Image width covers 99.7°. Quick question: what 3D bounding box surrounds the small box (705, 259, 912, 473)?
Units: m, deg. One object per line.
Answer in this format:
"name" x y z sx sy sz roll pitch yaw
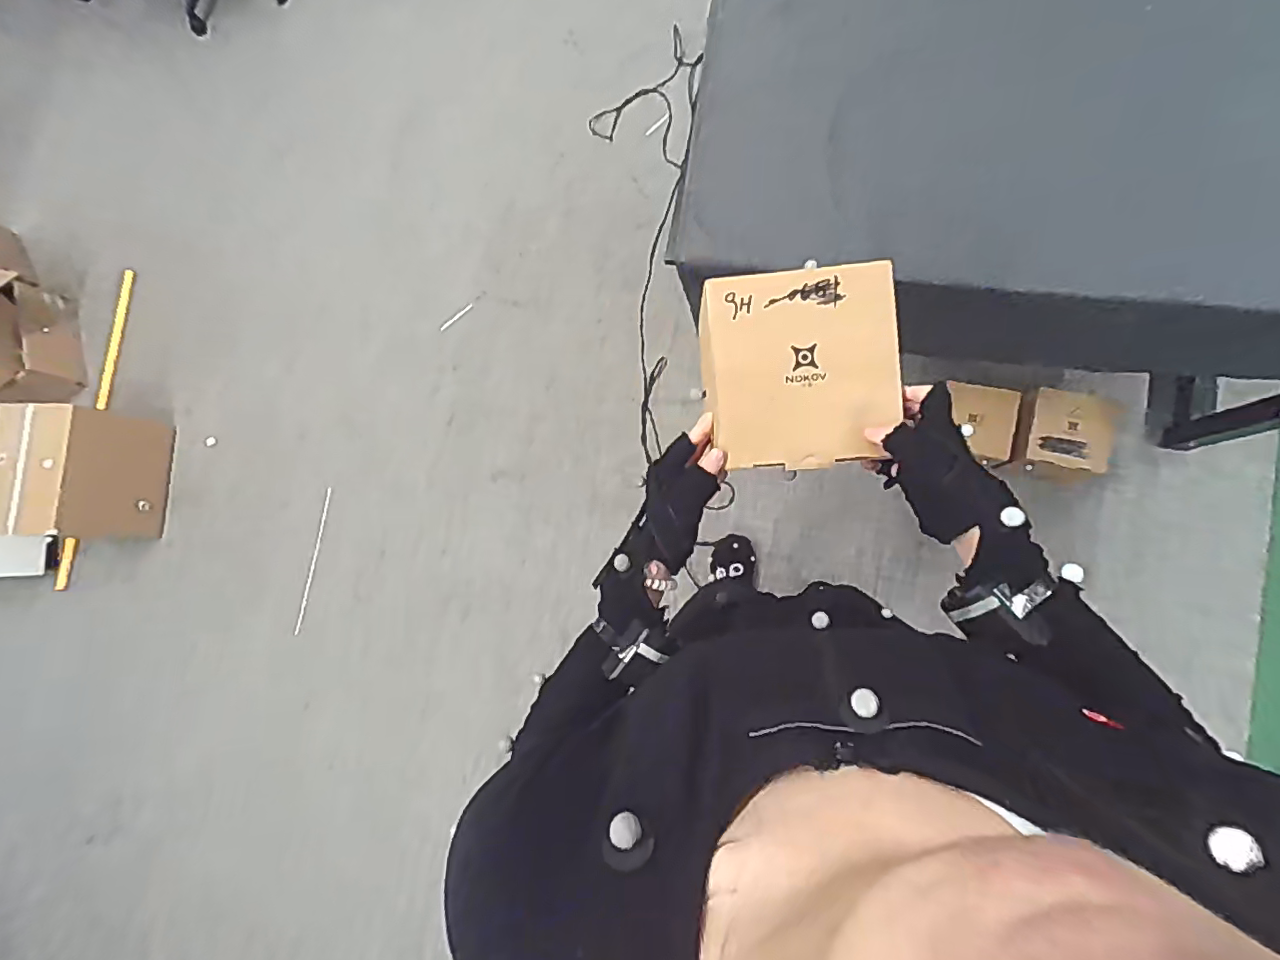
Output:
"small box" 0.156 -0.102 0.549 0.168 0.176 0.179 -4 92 4
